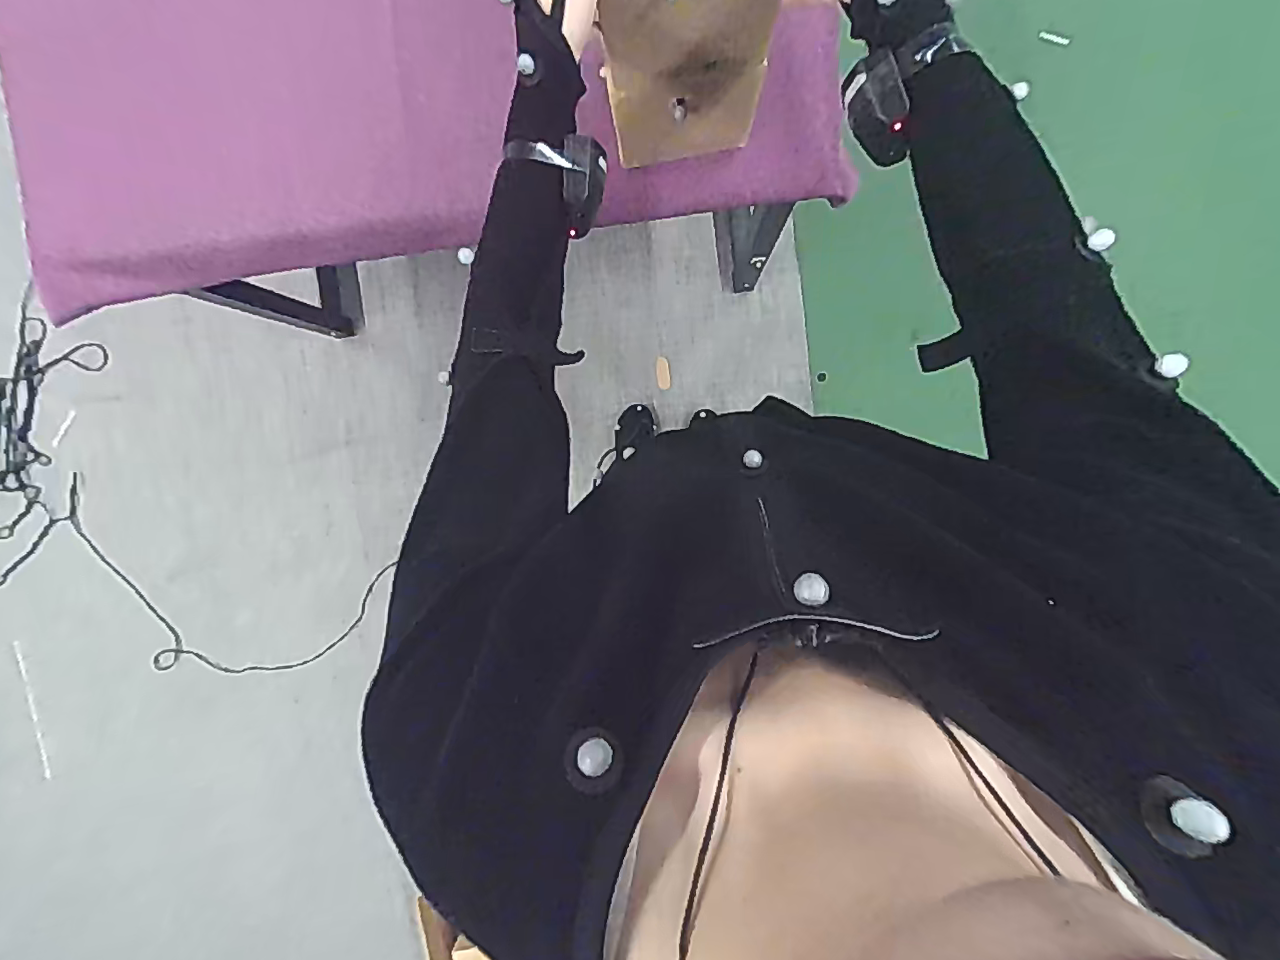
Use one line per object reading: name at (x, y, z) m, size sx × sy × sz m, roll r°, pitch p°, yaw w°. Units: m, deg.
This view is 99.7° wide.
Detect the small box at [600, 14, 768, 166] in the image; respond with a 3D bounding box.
small box at (0.051, -0.522, 0.667) m, size 0.179 × 0.176 × 0.168 m, roll -8°, pitch 95°, yaw 7°

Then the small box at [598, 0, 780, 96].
small box at (0.038, -0.508, 0.503) m, size 0.168 × 0.176 × 0.179 m, roll -7°, pitch 97°, yaw 7°

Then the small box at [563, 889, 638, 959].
small box at (-0.107, 1.286, 1.509) m, size 0.179 × 0.176 × 0.168 m, roll -12°, pitch 91°, yaw 8°

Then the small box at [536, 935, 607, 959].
small box at (-0.176, 1.287, 1.352) m, size 0.168 × 0.176 × 0.179 m, roll -14°, pitch 91°, yaw 9°
